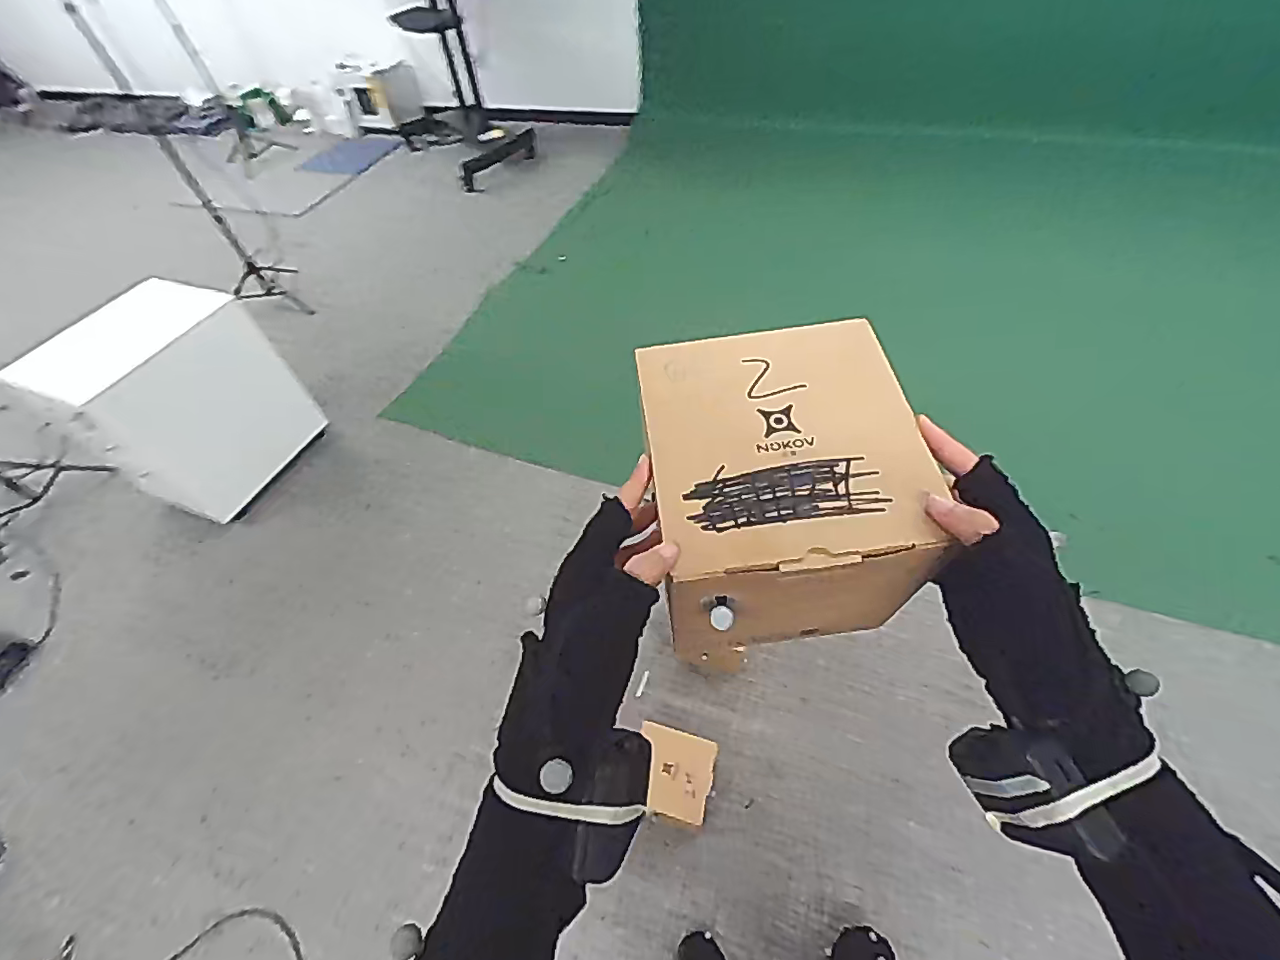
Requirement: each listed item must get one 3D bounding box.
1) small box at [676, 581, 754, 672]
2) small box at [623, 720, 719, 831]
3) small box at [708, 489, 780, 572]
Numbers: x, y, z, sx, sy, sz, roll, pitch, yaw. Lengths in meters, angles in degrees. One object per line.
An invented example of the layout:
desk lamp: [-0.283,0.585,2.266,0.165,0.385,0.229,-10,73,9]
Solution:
small box: [0.200,0.398,1.448,0.179,0.176,0.168,10,52,13]
small box: [0.074,0.677,1.231,0.179,0.176,0.168,13,54,13]
small box: [0.309,0.157,1.635,0.179,0.176,0.168,15,55,16]
